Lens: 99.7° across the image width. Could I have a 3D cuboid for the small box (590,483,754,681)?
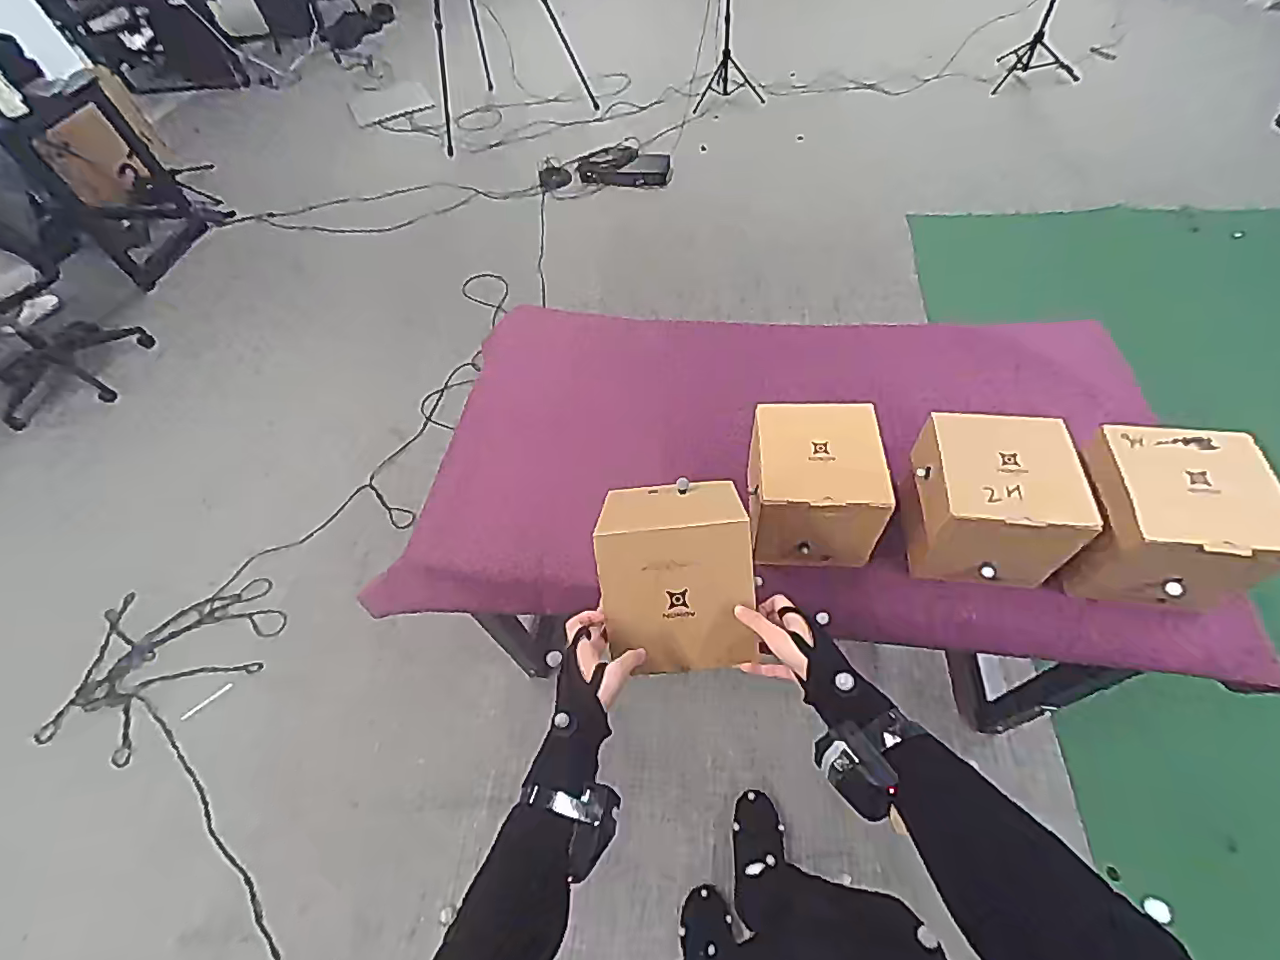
[{"bbox_3d":[0.042,0.114,0.654,0.168,0.179,0.176,-6,15,4],"label":"small box"}]
